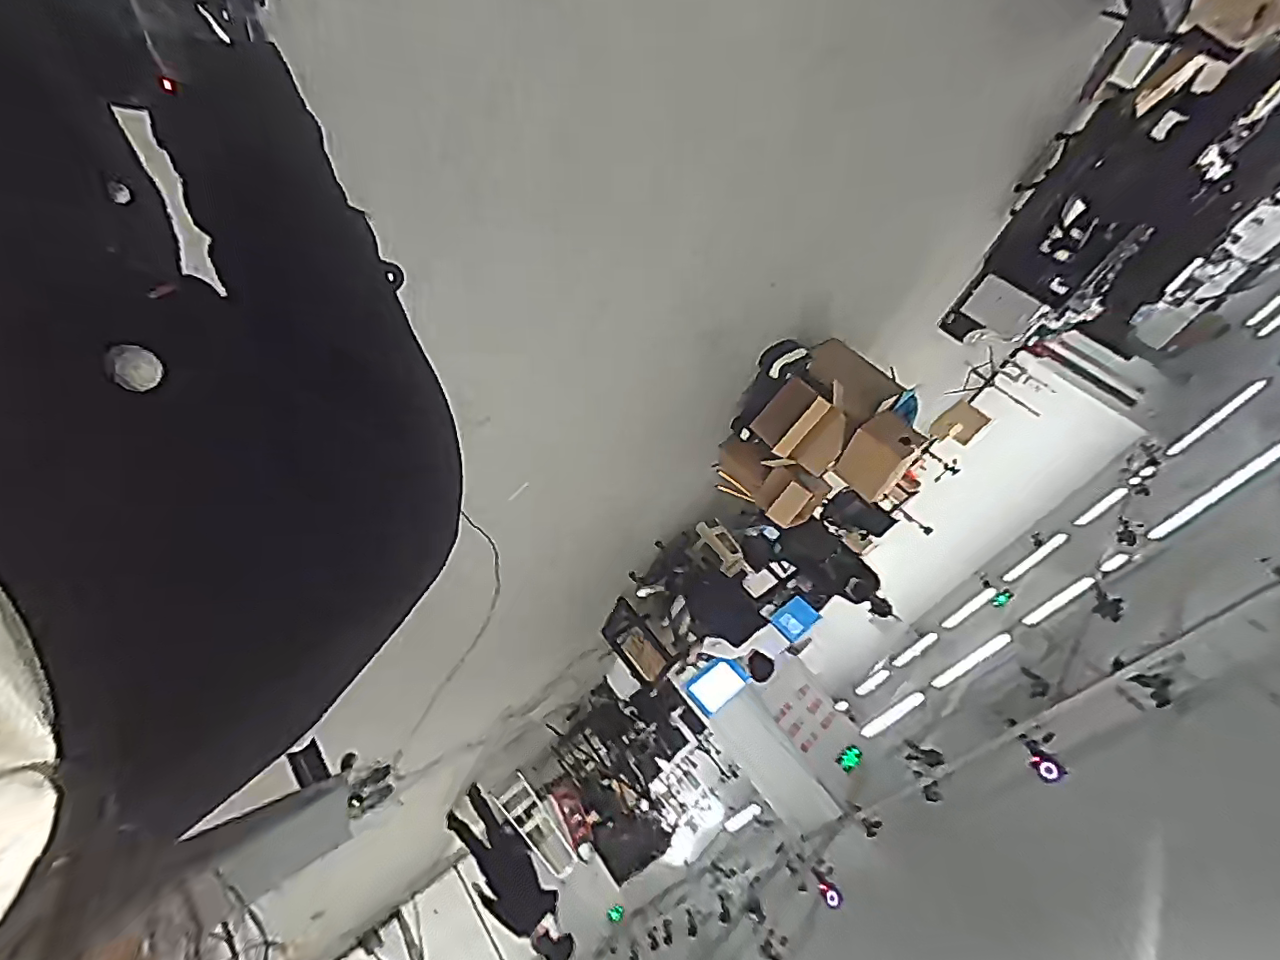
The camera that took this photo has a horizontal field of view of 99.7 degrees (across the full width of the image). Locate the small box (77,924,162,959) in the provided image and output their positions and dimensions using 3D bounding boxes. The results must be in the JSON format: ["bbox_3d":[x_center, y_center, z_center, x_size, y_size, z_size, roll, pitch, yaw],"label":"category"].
[{"bbox_3d":[-1.304,1.247,1.331,0.179,0.176,0.168,-21,150,-41],"label":"small box"}]
